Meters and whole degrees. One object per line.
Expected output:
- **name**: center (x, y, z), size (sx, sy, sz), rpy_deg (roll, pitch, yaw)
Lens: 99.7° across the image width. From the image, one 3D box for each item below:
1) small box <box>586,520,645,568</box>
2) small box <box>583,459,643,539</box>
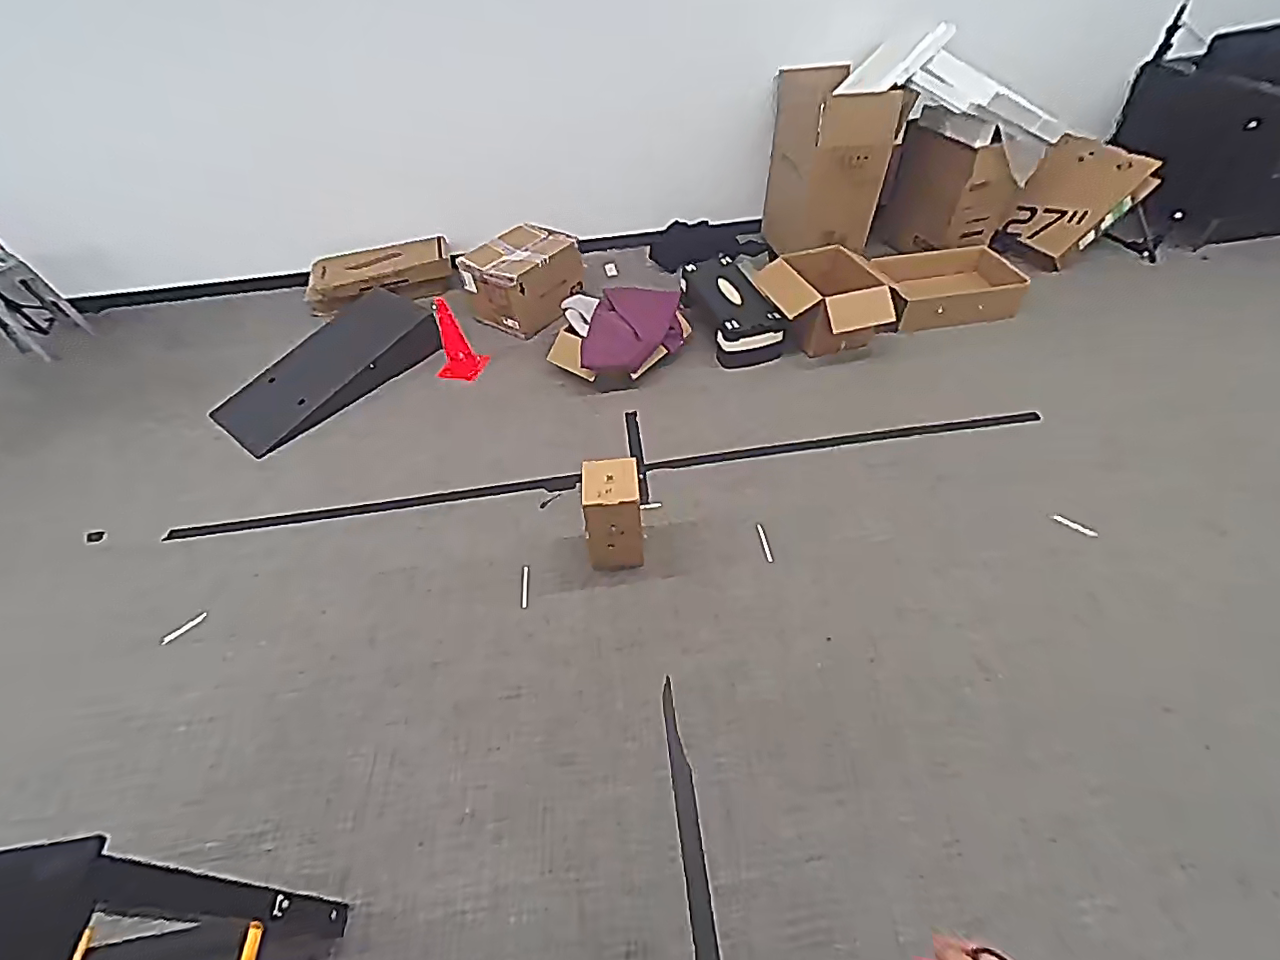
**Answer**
- **small box**: center (-0.078, 0.175, 1.766), size (0.179, 0.176, 0.168), rpy_deg (-4, 48, 0)
- **small box**: center (-0.081, 0.060, 1.648), size (0.168, 0.176, 0.179), rpy_deg (-5, 48, 1)
